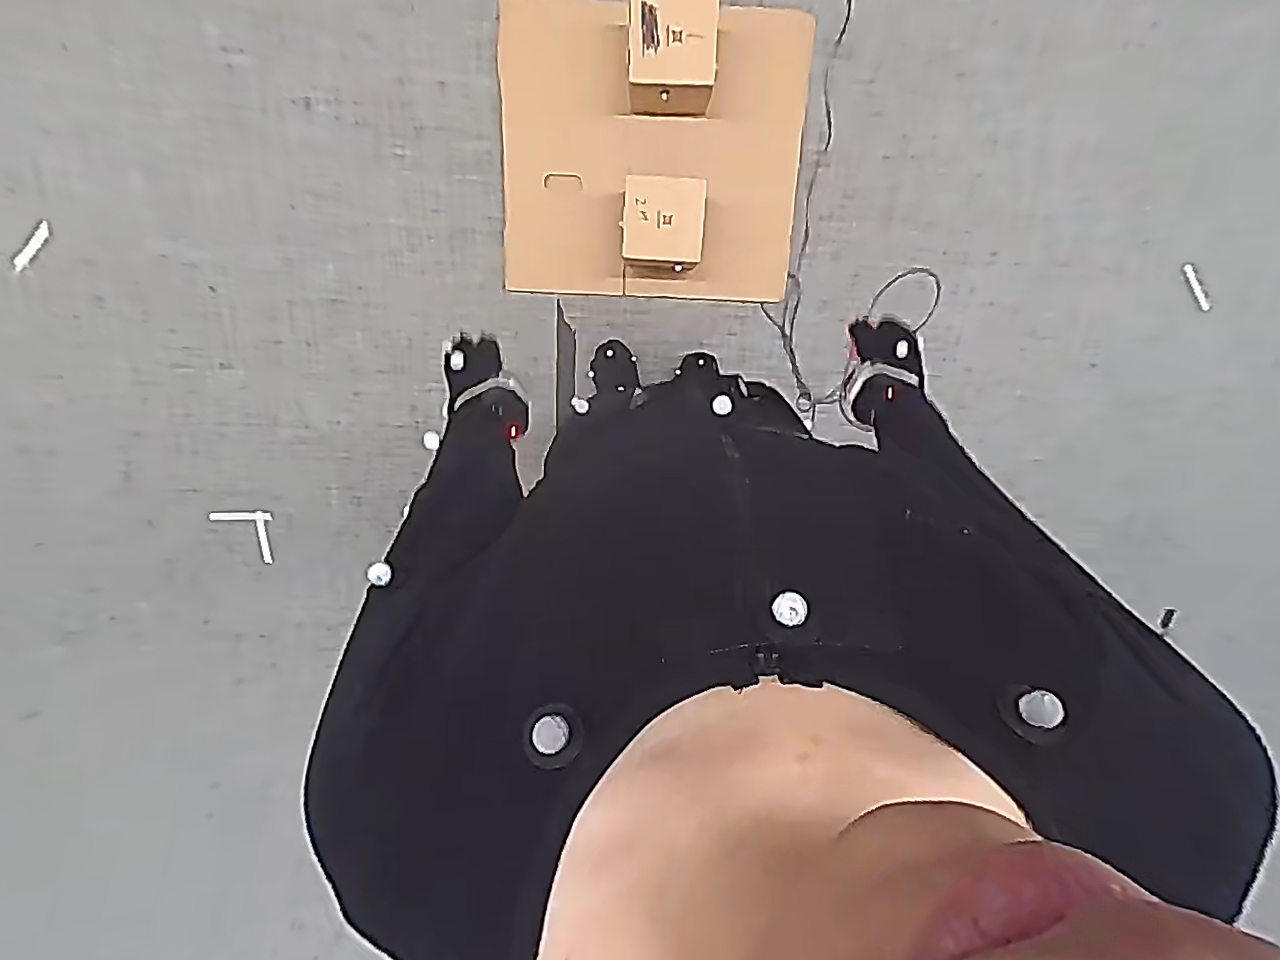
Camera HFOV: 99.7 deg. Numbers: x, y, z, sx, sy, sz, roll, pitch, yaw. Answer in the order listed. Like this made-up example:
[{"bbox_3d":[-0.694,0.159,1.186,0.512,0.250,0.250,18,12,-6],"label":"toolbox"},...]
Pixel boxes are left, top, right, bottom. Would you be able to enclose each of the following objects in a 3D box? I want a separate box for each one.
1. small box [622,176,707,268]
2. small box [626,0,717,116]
[{"bbox_3d":[0.053,-0.584,1.243,0.179,0.176,0.168,4,107,0],"label":"small box"},{"bbox_3d":[0.063,-0.897,1.149,0.179,0.176,0.168,1,107,0],"label":"small box"}]
